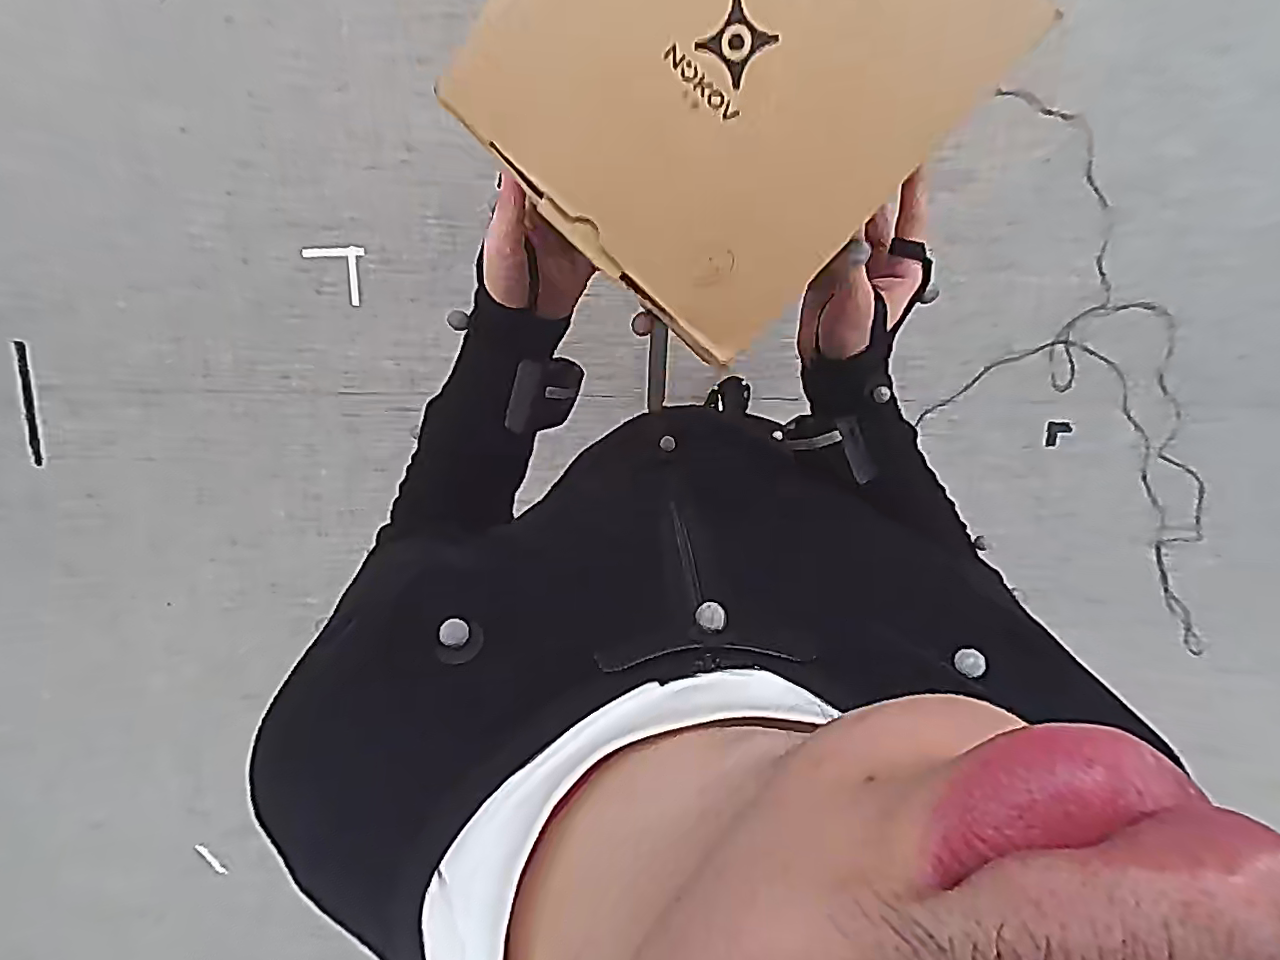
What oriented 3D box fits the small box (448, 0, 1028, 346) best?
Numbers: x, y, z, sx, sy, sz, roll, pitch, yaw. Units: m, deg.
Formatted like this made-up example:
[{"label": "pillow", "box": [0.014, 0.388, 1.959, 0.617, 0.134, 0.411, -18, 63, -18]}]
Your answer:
[{"label": "small box", "box": [0.040, -0.189, 0.294, 0.168, 0.176, 0.179, 42, 102, -5]}]
